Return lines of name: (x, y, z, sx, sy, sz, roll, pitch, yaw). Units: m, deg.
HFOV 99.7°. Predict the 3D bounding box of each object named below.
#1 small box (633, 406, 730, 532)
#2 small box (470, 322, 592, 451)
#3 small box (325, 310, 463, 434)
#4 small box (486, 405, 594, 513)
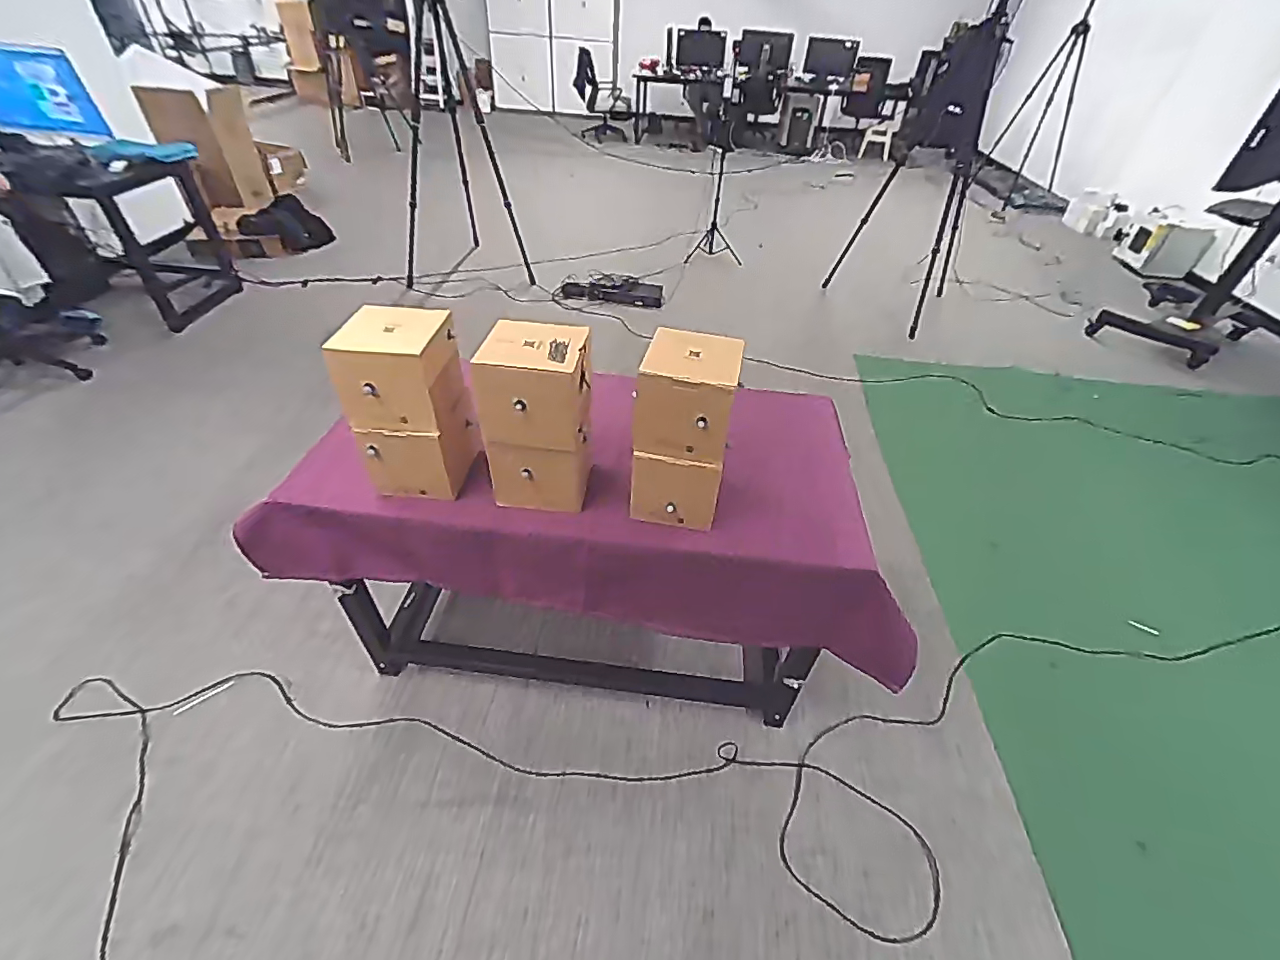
small box: (0.081, -0.023, 1.090, 0.168, 0.176, 0.179, 9, 41, 7)
small box: (-0.187, -0.169, 0.991, 0.179, 0.176, 0.168, 6, 41, 4)
small box: (-0.444, -0.202, 1.015, 0.168, 0.176, 0.179, 4, 40, 0)
small box: (-0.194, -0.049, 1.105, 0.179, 0.176, 0.168, 5, 42, 3)
